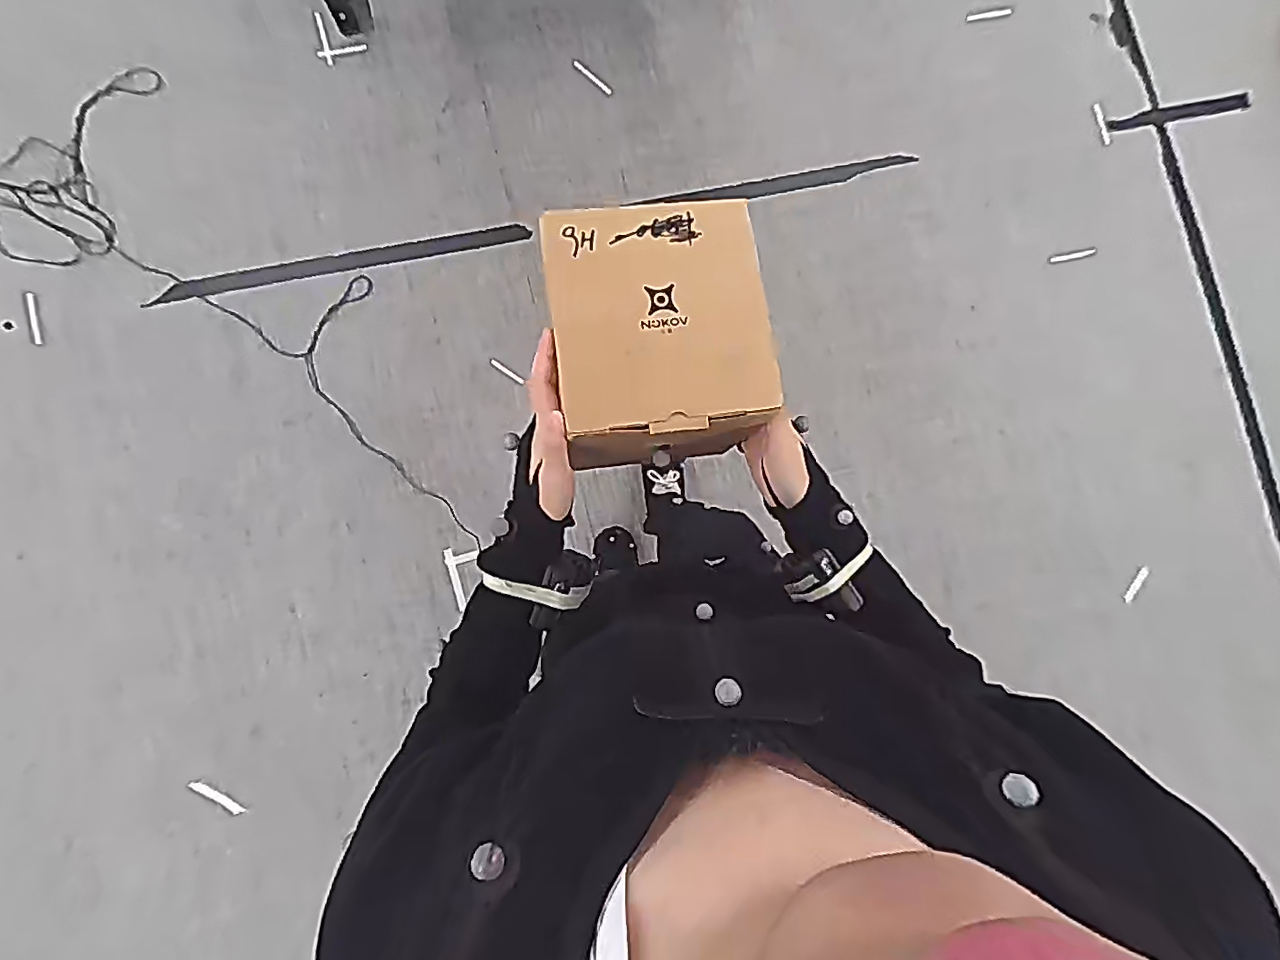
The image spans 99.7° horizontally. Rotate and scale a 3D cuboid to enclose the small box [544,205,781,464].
[{"bbox_3d":[0.010,-0.114,0.491,0.168,0.176,0.179,-8,83,-7],"label":"small box"}]
